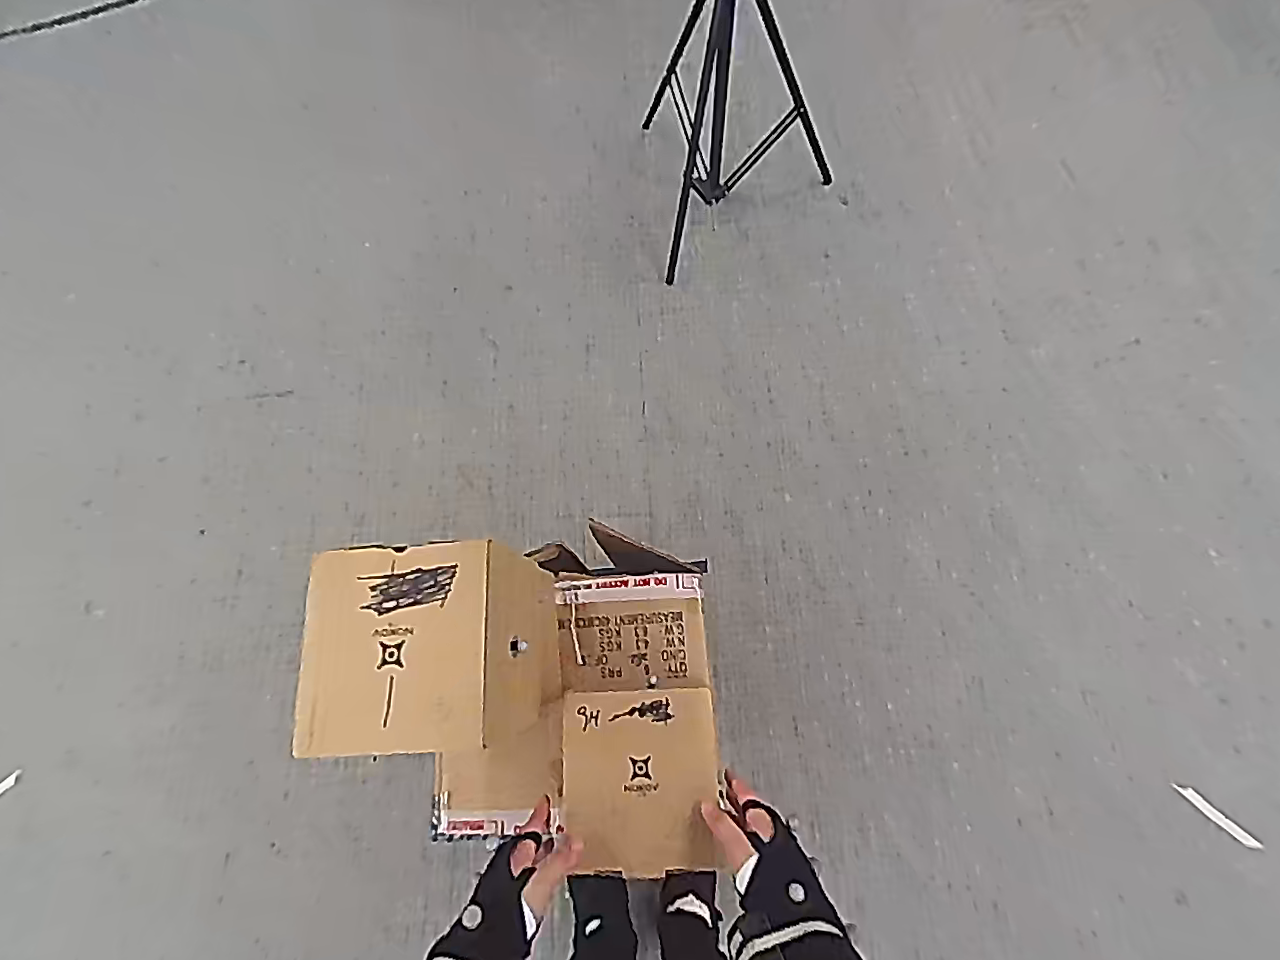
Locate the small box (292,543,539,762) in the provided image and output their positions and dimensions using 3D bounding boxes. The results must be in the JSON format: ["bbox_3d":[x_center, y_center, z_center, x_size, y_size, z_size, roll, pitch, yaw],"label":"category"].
[{"bbox_3d":[-0.203,0.167,0.540,0.168,0.176,0.179,-5,74,4],"label":"small box"}]

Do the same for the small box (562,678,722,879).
[{"bbox_3d":[0.004,0.339,0.645,0.168,0.176,0.179,-4,74,1],"label":"small box"}]

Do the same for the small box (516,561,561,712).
[{"bbox_3d":[-0.205,0.211,0.699,0.168,0.176,0.179,-8,73,3],"label":"small box"}]
